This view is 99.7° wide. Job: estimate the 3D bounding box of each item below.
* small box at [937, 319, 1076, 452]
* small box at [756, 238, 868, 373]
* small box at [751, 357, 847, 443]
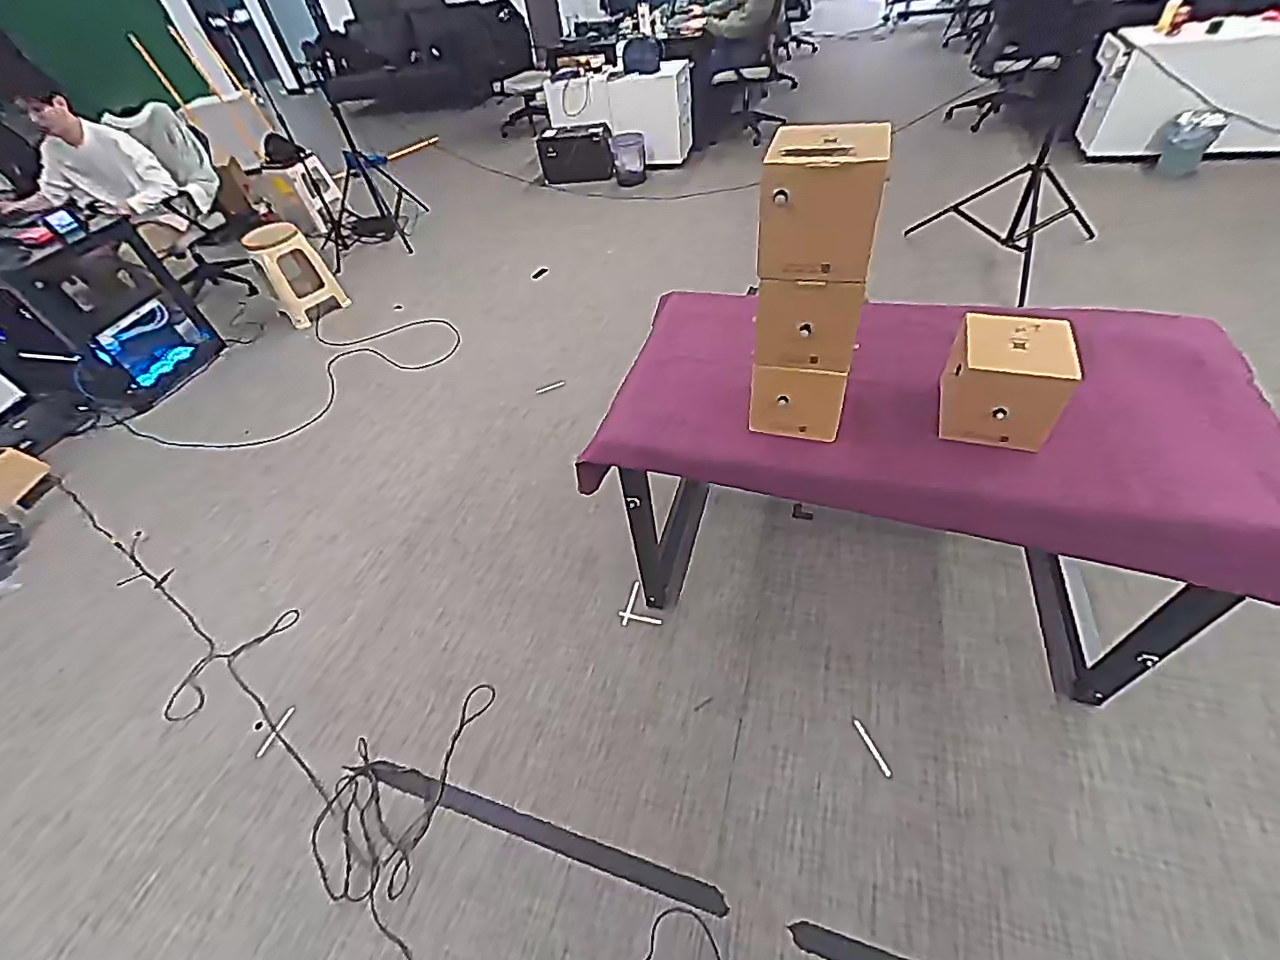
[{"bbox_3d":[0.666,-0.174,1.004,0.168,0.176,0.179,12,50,18],"label":"small box"},{"bbox_3d":[0.301,-0.309,0.962,0.168,0.176,0.179,8,49,15],"label":"small box"},{"bbox_3d":[0.319,-0.194,1.077,0.168,0.176,0.179,10,49,17],"label":"small box"}]
